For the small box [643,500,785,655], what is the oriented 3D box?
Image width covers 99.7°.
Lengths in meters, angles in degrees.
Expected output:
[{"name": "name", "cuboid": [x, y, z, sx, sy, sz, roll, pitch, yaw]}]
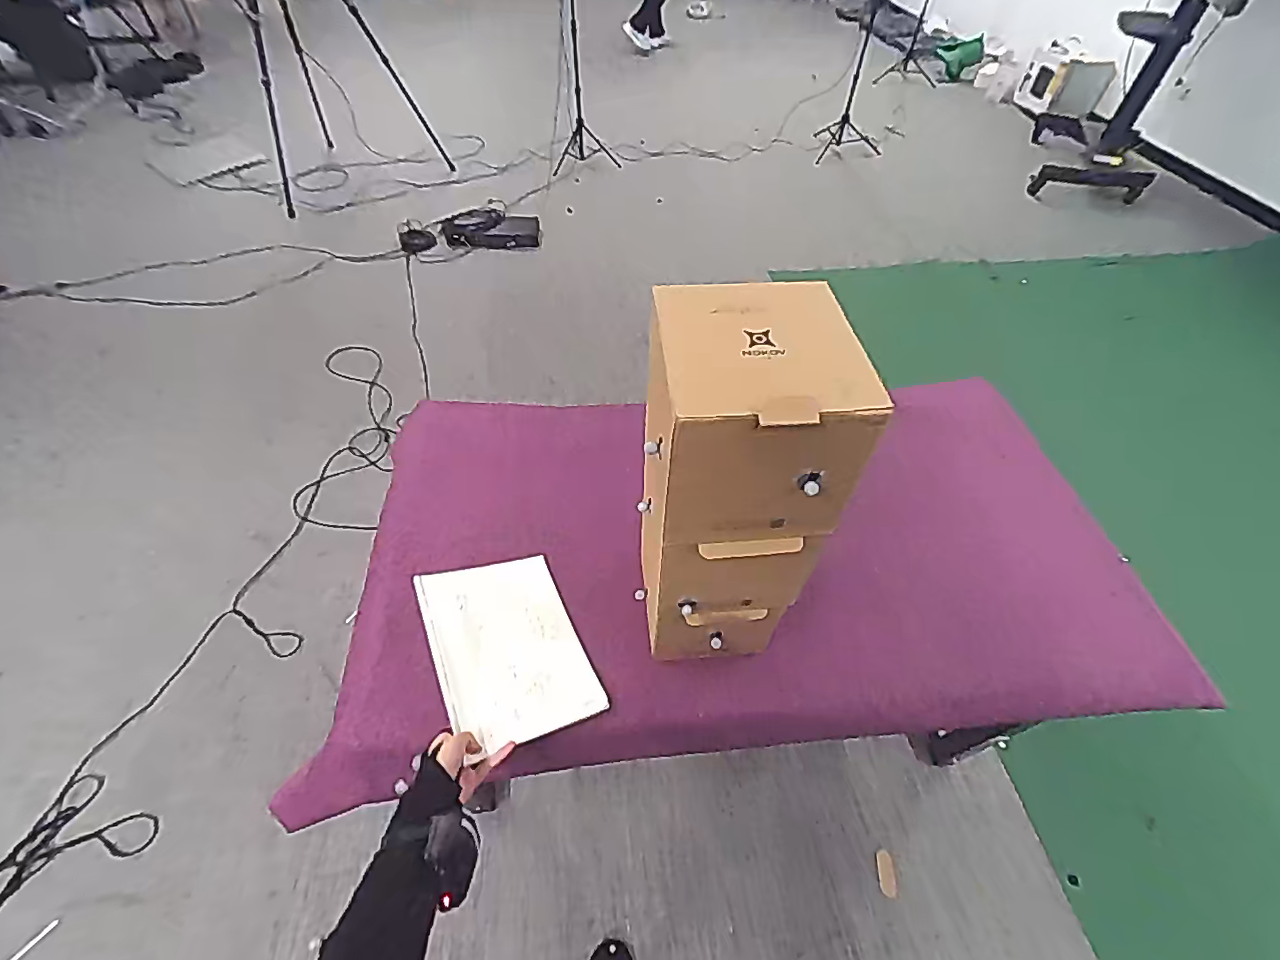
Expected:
[{"name": "small box", "cuboid": [0.092, 0.139, 0.773, 0.168, 0.176, 0.179, -3, 52, -4]}]

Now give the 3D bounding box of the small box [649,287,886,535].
[{"name": "small box", "cuboid": [0.097, -0.059, 0.511, 0.168, 0.176, 0.179, -2, 50, -4]}]

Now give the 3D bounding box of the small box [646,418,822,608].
[{"name": "small box", "cuboid": [0.095, 0.040, 0.641, 0.168, 0.176, 0.179, -3, 50, -4]}]
